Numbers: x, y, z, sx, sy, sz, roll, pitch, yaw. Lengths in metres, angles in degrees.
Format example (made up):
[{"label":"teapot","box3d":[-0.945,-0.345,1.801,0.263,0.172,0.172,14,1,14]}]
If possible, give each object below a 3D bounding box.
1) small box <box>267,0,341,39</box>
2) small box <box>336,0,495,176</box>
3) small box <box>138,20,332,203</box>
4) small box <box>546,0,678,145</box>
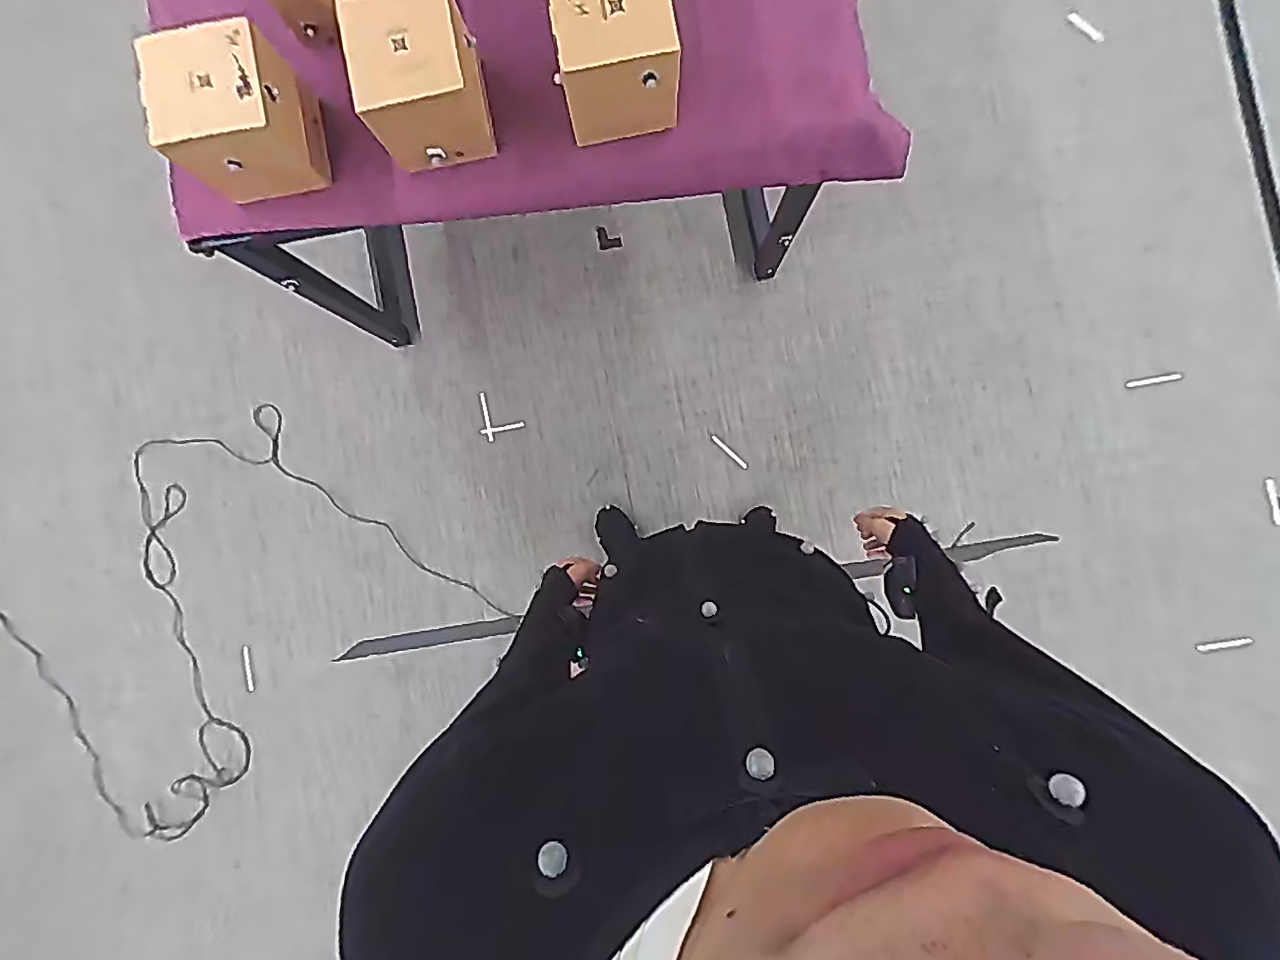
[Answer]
[{"label":"small box","box3d":[-0.535,-0.864,0.875,0.168,0.176,0.179,-11,89,1]},{"label":"small box","box3d":[-0.348,-0.630,0.866,0.168,0.176,0.179,-11,90,2]},{"label":"small box","box3d":[-0.639,-0.577,0.871,0.179,0.176,0.168,-10,89,2]},{"label":"small box","box3d":[-0.042,-0.670,0.853,0.179,0.176,0.168,-10,88,2]}]
